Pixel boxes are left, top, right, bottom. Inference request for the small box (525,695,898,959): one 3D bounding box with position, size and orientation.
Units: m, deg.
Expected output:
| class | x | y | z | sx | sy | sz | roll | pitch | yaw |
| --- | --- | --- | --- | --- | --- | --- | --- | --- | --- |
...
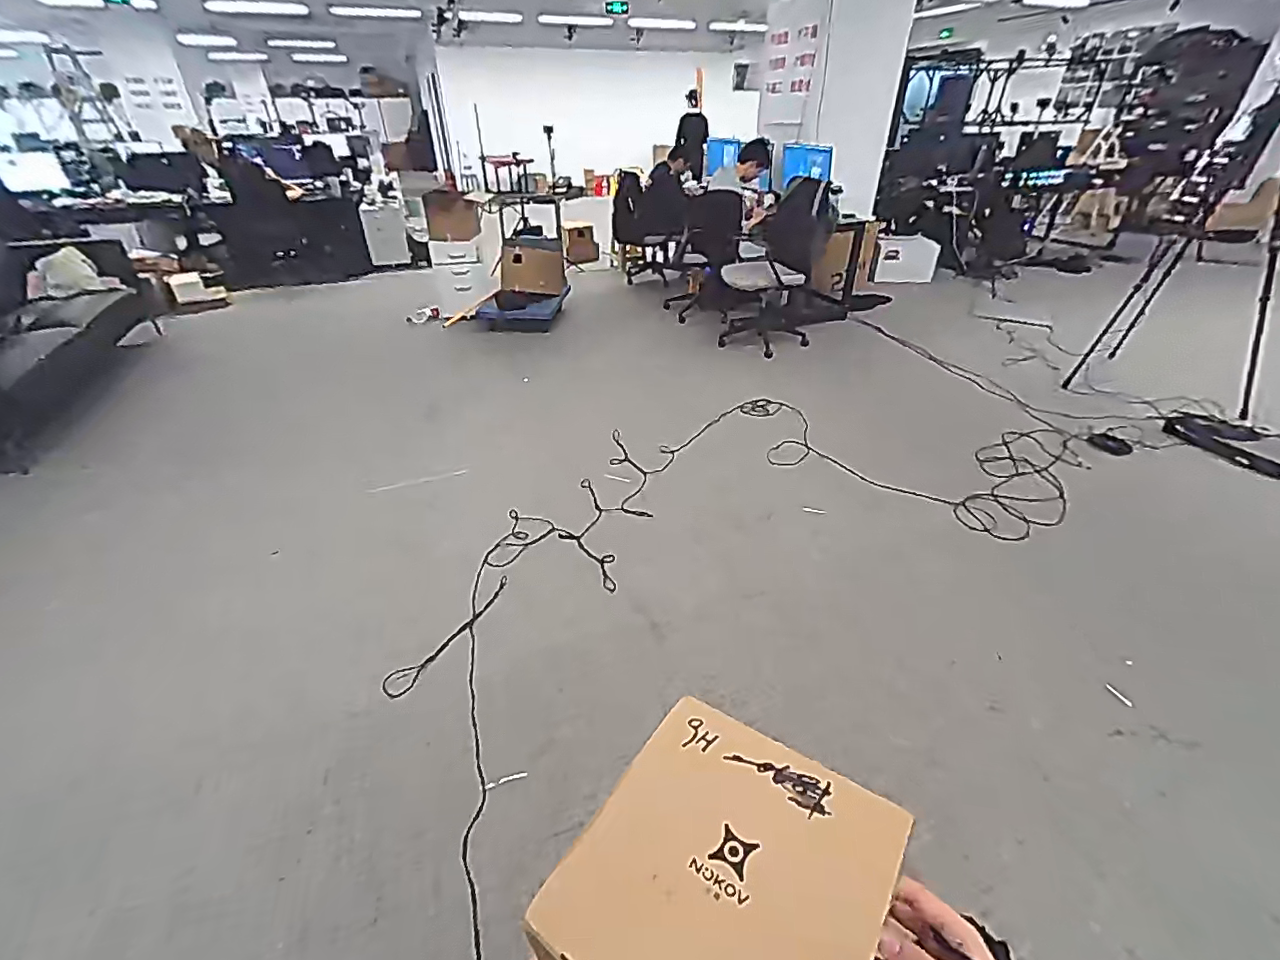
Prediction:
| class | x | y | z | sx | sy | sz | roll | pitch | yaw |
| --- | --- | --- | --- | --- | --- | --- | --- | --- | --- |
| small box | 0.056 | 0.294 | 0.363 | 0.168 | 0.176 | 0.179 | 16 | 37 | 33 |
